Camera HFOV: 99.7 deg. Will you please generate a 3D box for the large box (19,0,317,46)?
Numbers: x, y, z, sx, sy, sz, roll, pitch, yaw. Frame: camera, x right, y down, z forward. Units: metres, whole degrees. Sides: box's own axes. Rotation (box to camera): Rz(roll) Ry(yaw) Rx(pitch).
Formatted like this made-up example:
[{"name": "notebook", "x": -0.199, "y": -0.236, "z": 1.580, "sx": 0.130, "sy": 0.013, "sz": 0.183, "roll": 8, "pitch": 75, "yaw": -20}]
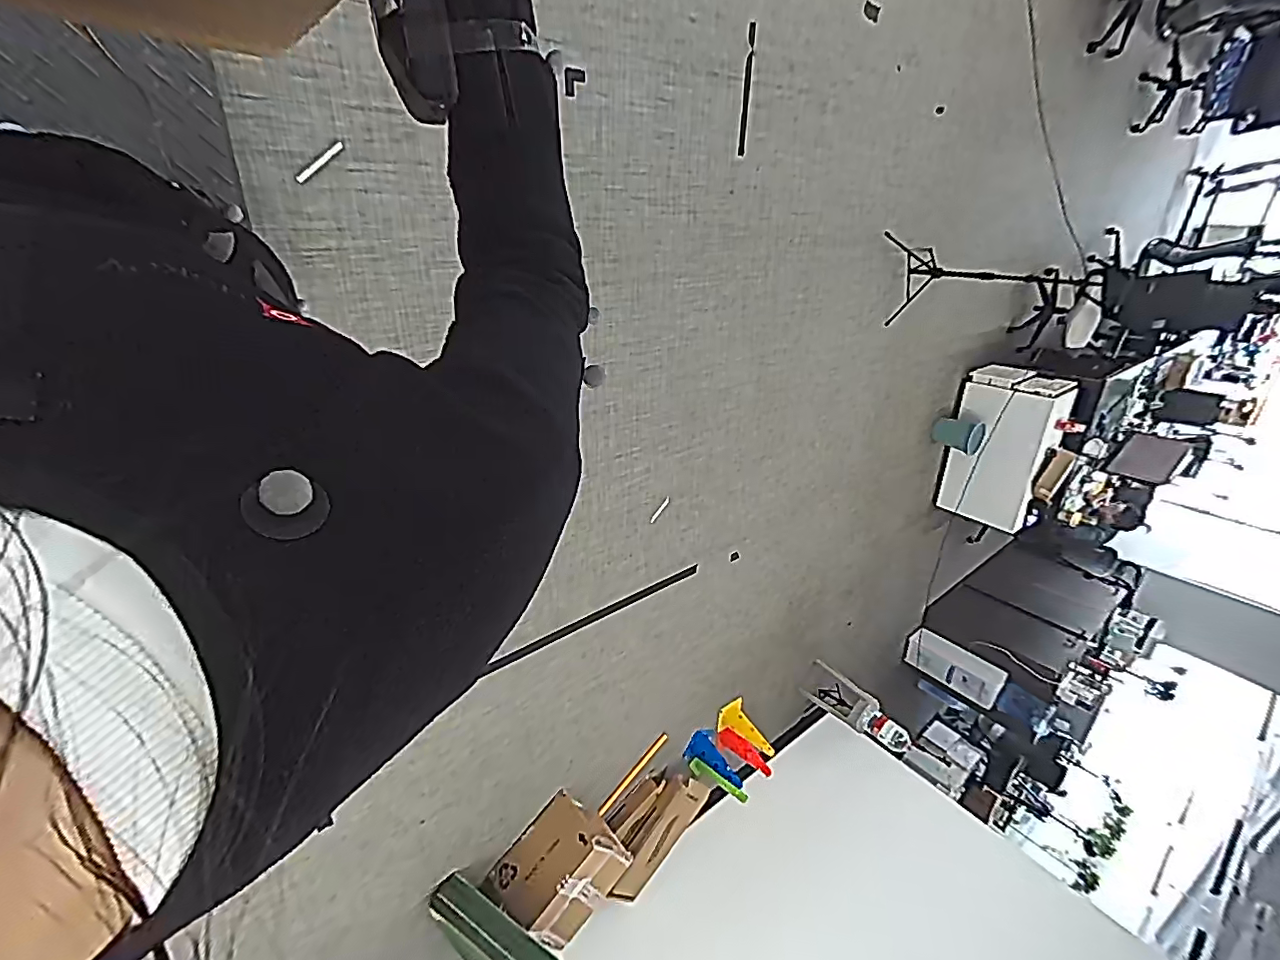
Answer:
[{"name": "large box", "x": -0.373, "y": -0.413, "z": 0.196, "sx": 0.408, "sy": 0.320, "sz": 0.320, "roll": -17, "pitch": 124, "yaw": -37}]
